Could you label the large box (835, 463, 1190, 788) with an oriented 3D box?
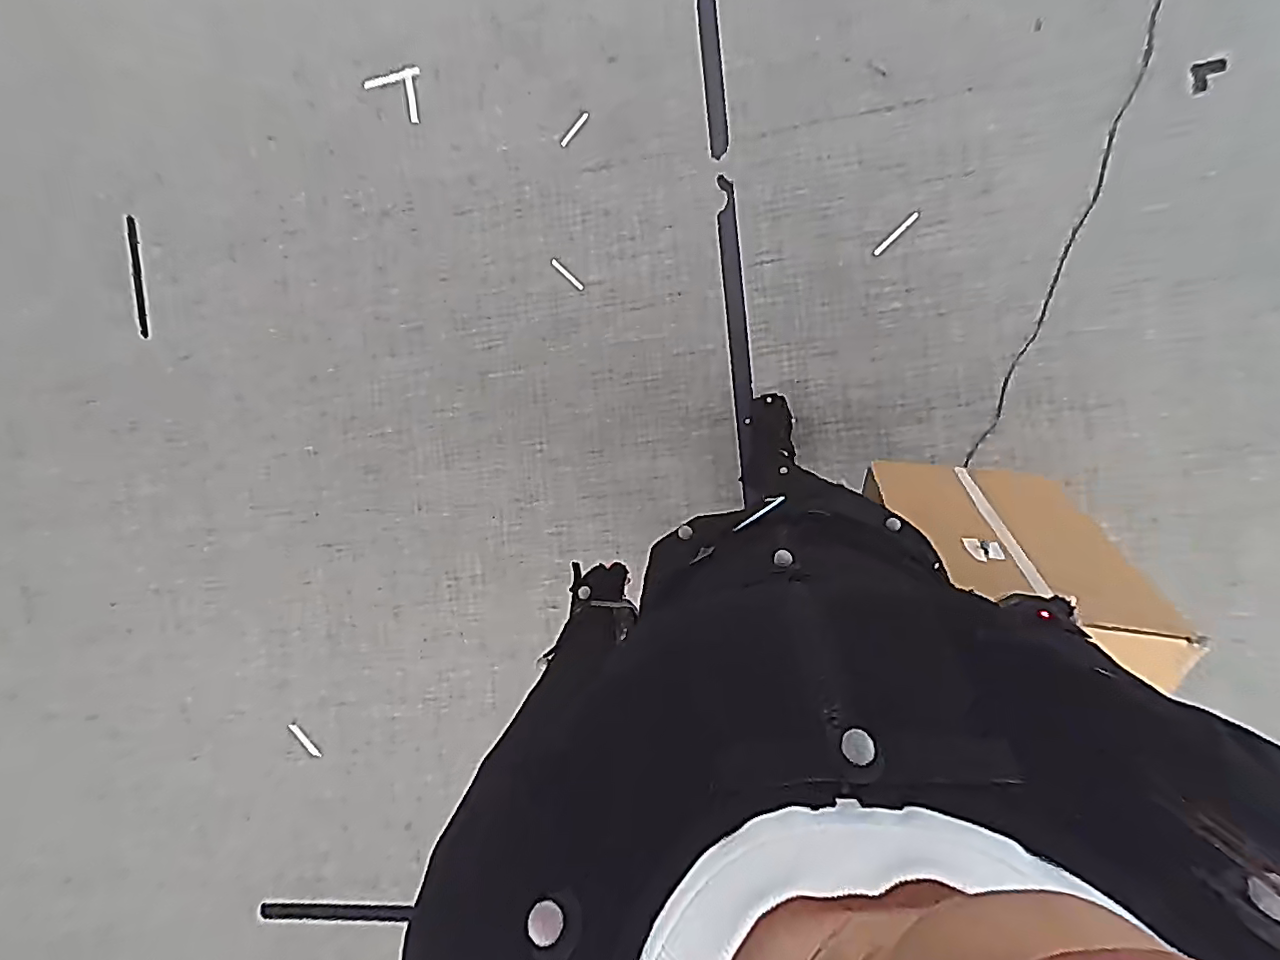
[{"bbox_3d":[0.534,0.209,0.901,0.320,0.408,0.320,5,121,10],"label":"large box"}]
